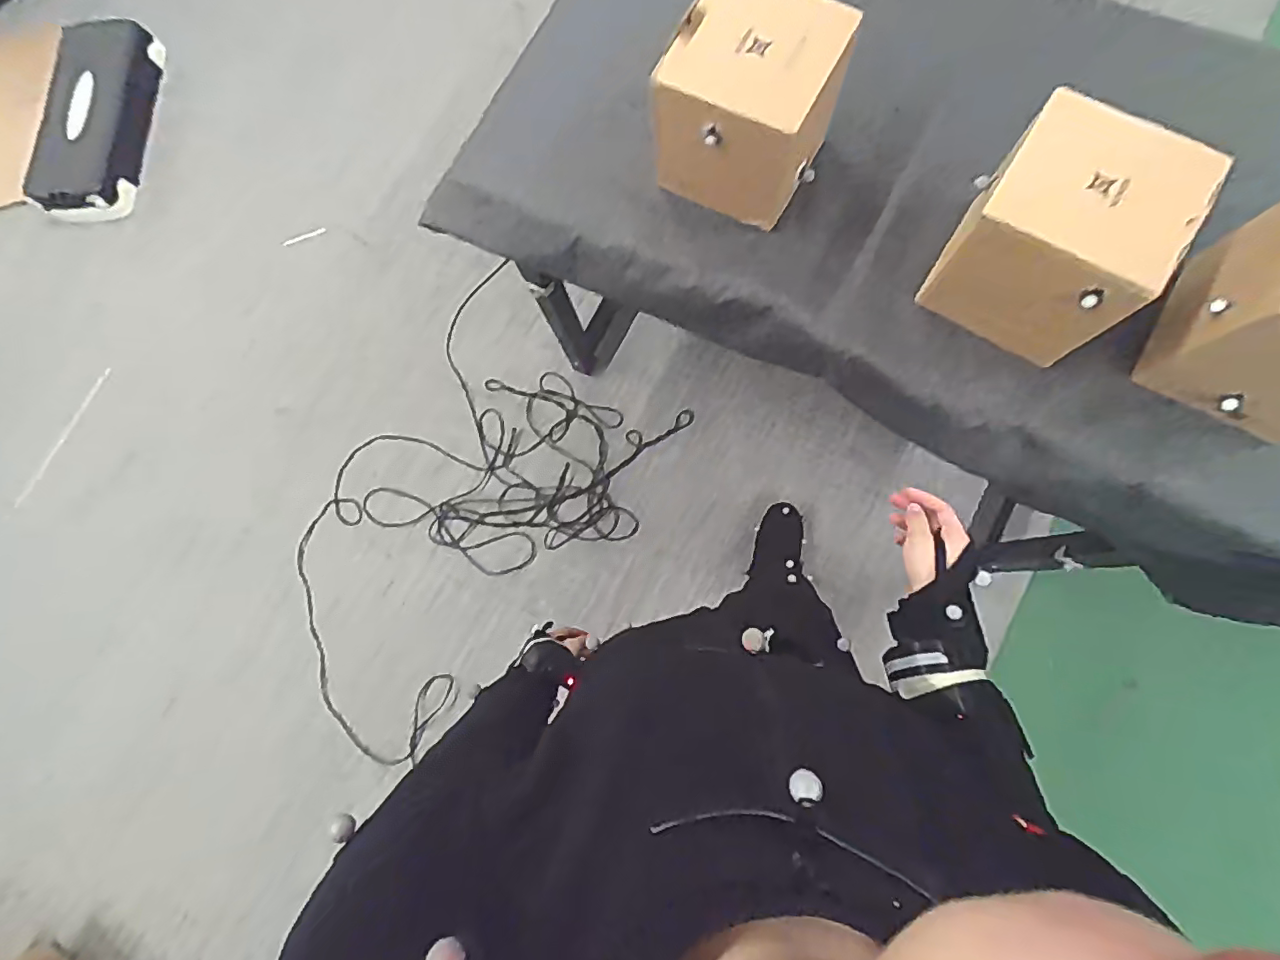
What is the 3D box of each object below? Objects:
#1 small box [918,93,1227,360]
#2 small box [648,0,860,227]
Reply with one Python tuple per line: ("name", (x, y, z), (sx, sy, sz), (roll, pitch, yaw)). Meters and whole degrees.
("small box", (0.445, -0.259, 0.591), (0.179, 0.176, 0.168), (32, 82, 10))
("small box", (0.127, -0.445, 0.654), (0.179, 0.176, 0.168), (28, 83, 8))
